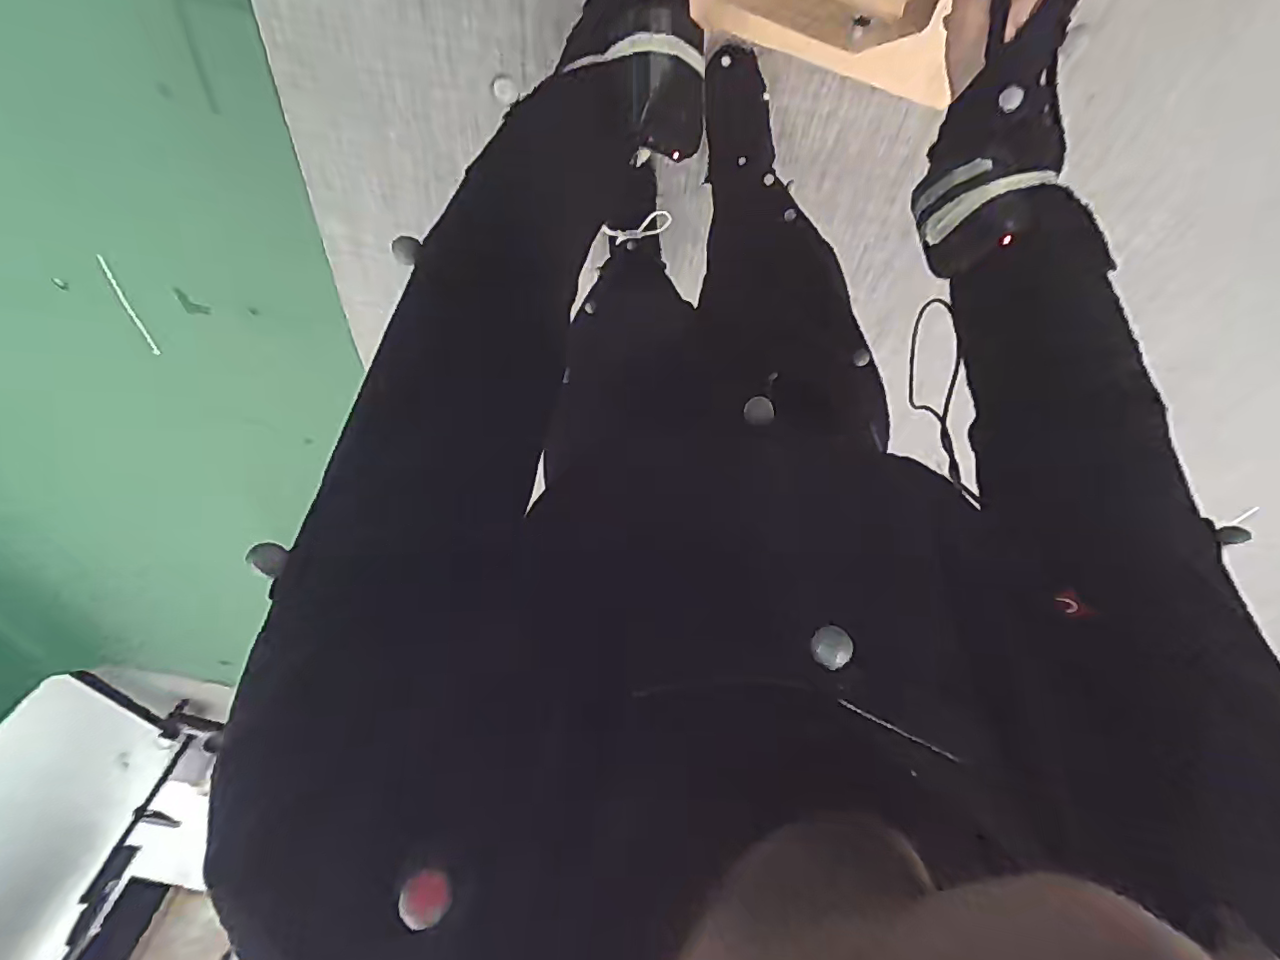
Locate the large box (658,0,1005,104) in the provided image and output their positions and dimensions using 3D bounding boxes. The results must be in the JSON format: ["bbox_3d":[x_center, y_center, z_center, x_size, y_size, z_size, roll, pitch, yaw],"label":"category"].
[{"bbox_3d":[0.261,-0.743,0.684,0.408,0.320,0.320,15,137,-6],"label":"large box"}]
